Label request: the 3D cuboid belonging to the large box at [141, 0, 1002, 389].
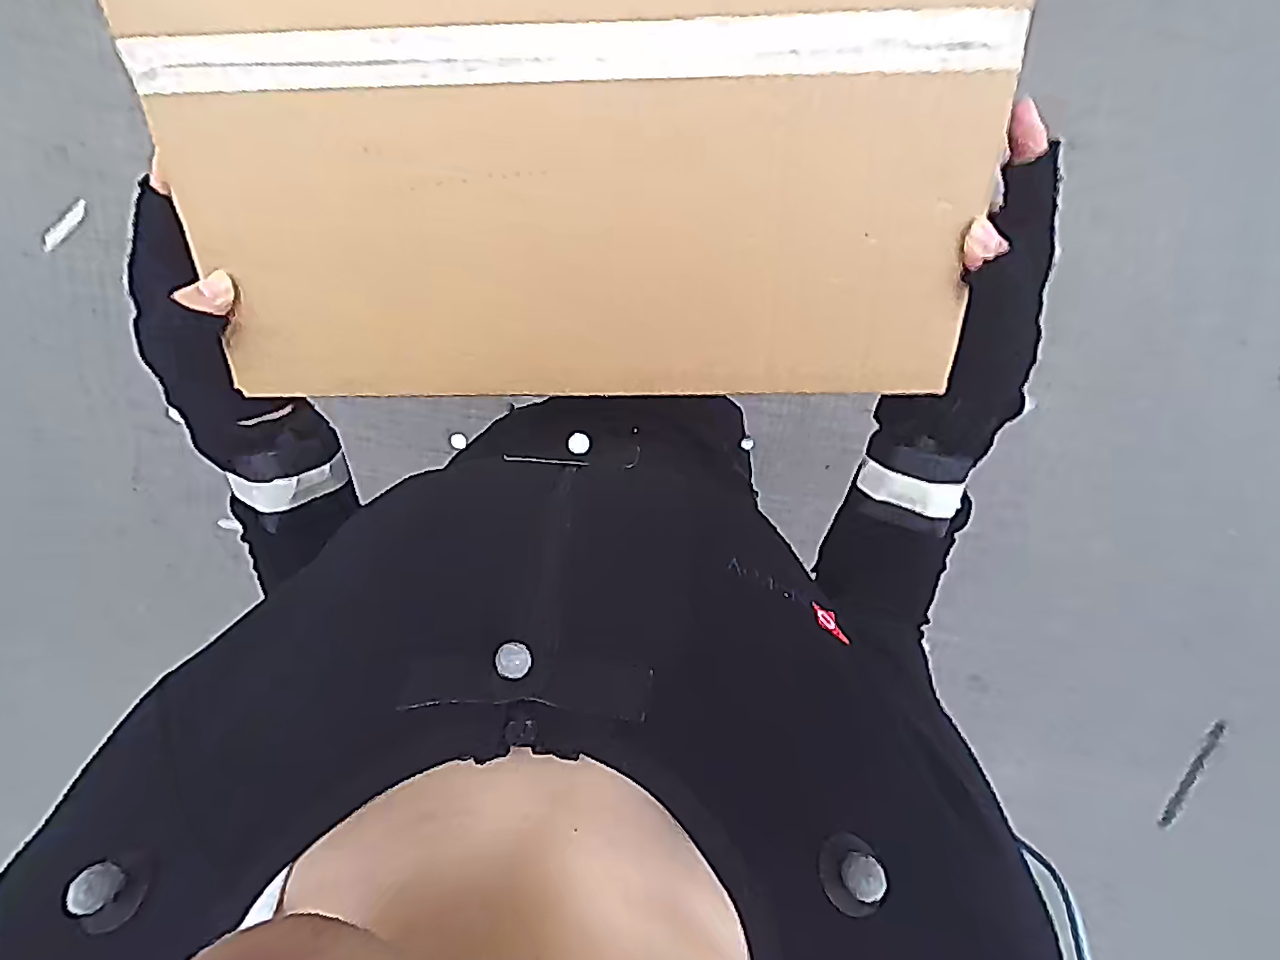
[{"bbox_3d":[-0.032,-0.261,0.392,0.408,0.320,0.320,-1,116,2],"label":"large box"}]
